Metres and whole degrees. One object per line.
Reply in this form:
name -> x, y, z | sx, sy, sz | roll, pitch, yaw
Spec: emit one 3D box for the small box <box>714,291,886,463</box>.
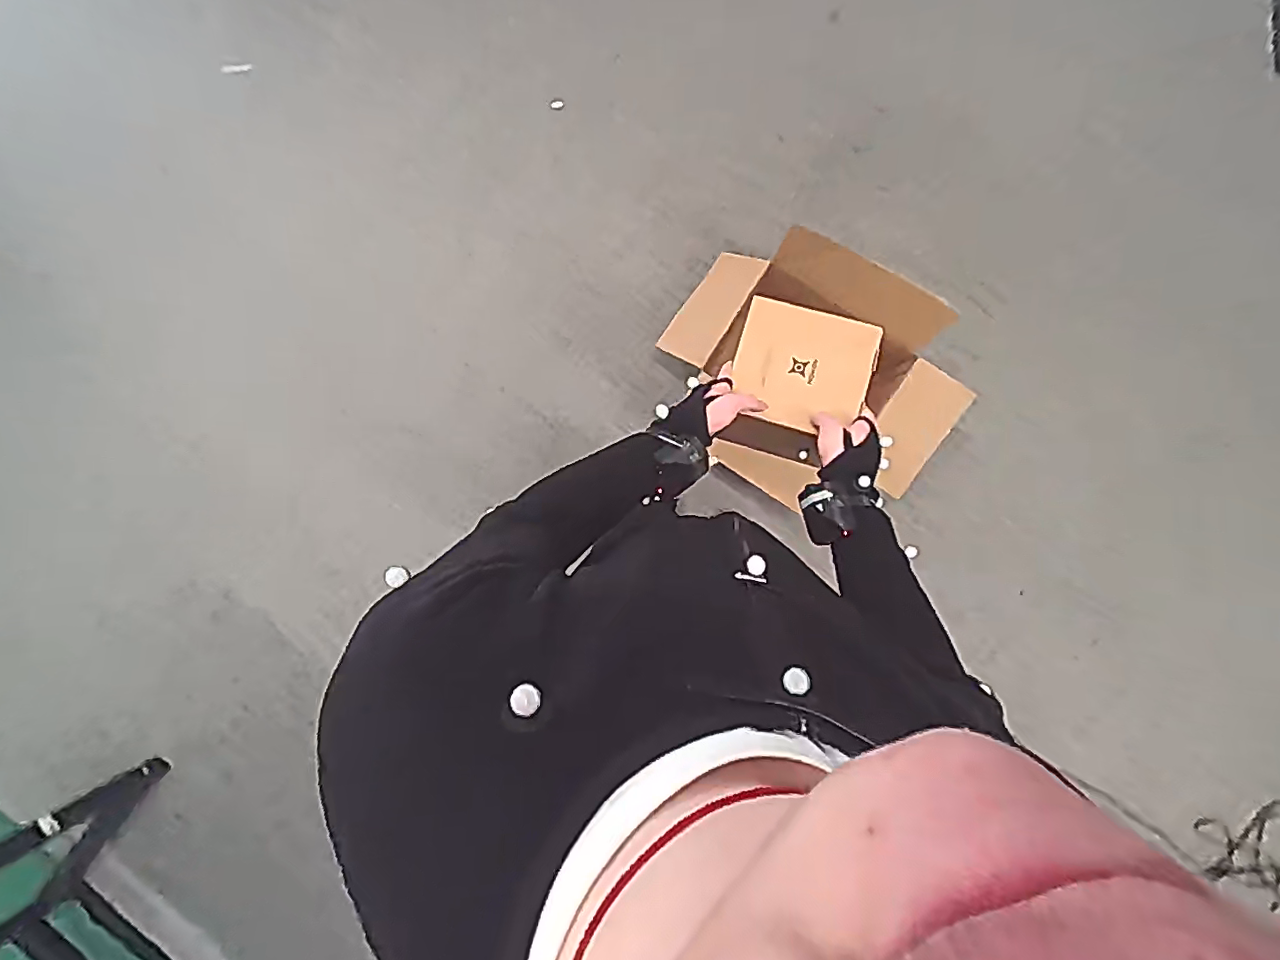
small box -> 0.214, -0.134, 0.769 | 0.179, 0.176, 0.168 | 18, 80, 8
